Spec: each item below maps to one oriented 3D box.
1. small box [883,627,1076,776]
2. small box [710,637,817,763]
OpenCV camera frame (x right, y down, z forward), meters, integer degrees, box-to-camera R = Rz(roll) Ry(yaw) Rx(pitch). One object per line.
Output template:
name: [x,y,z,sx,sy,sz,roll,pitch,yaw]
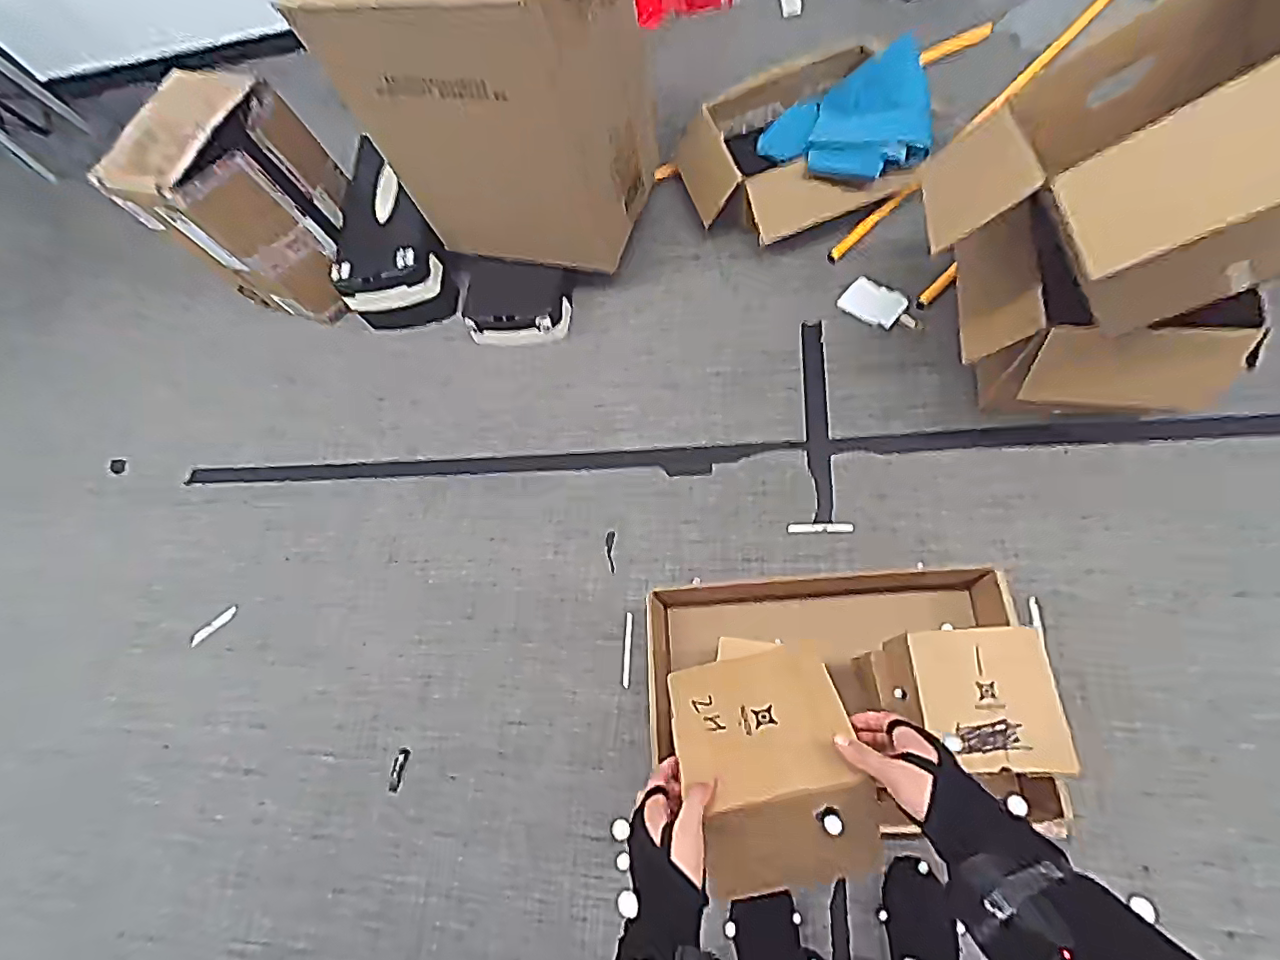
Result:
small box: [0.458,0.309,0.764,0.168,0.176,0.179,-6,67,10]
small box: [0.217,0.387,0.966,0.168,0.176,0.179,4,70,12]
